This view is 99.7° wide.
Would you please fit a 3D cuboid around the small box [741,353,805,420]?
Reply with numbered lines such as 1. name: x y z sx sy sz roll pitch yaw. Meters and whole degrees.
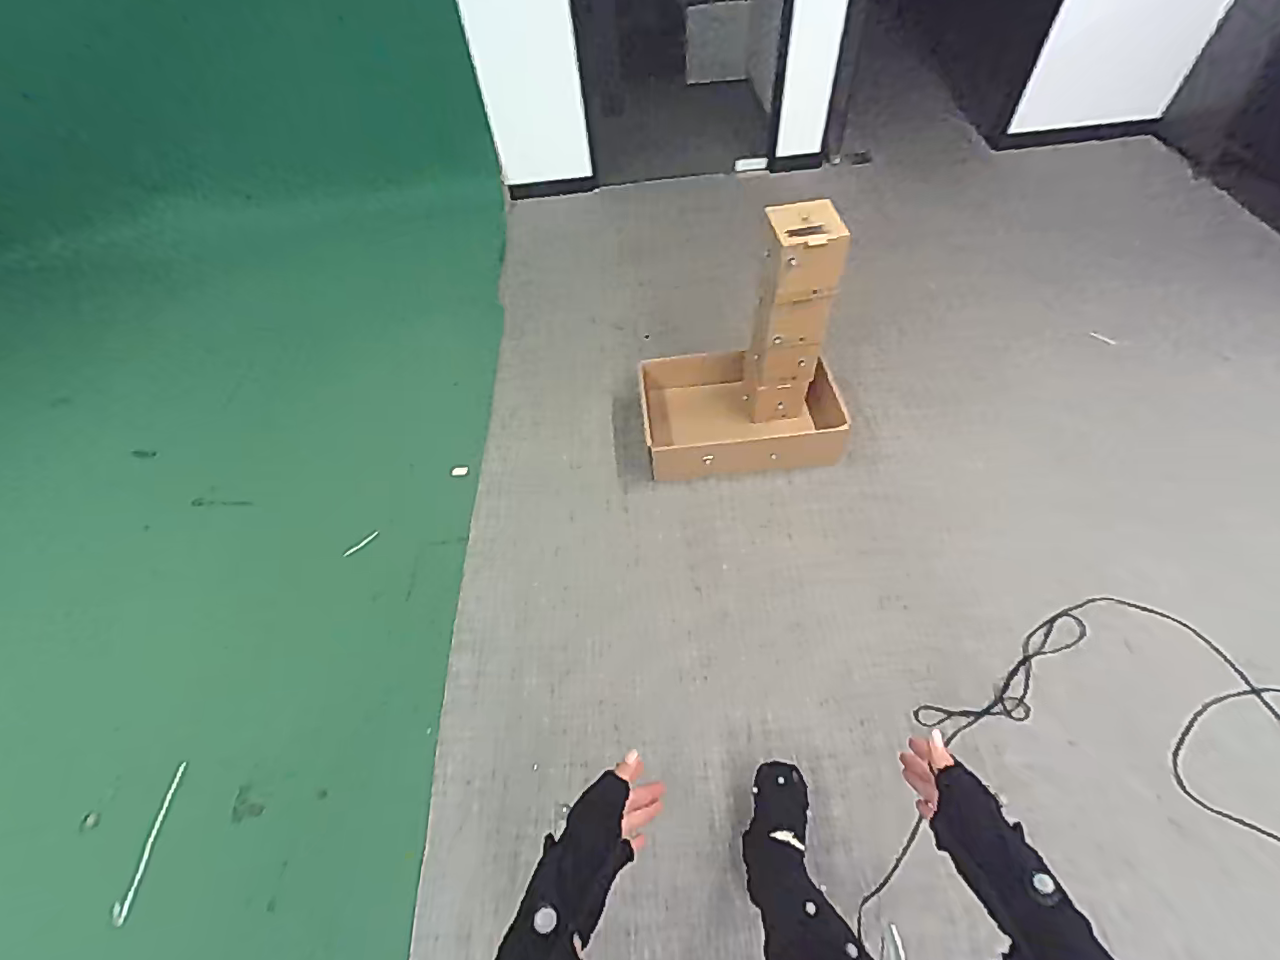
1. small box: 0.438 -0.316 1.804 0.168 0.176 0.179 -11 54 0

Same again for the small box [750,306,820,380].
1. small box: 0.437 -0.423 1.657 0.168 0.176 0.179 -7 54 1

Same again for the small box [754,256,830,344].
1. small box: 0.423 -0.502 1.533 0.168 0.176 0.179 -6 54 1
